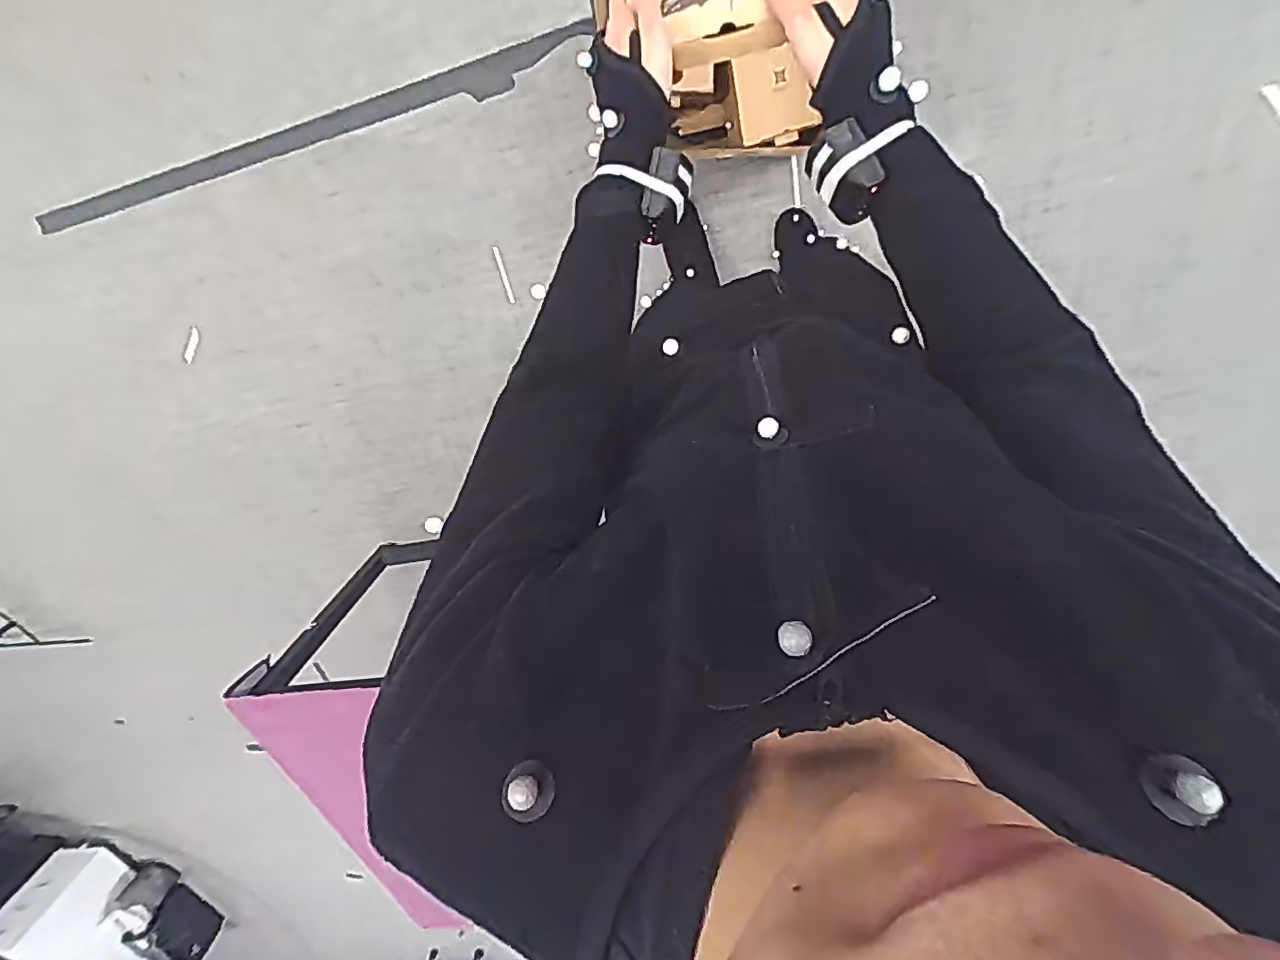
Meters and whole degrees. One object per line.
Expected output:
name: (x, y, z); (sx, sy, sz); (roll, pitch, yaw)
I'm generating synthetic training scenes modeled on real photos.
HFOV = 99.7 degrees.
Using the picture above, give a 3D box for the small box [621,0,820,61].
small box: (0.065, -0.496, 0.477); (0.168, 0.176, 0.179); (-5, 126, 12)
